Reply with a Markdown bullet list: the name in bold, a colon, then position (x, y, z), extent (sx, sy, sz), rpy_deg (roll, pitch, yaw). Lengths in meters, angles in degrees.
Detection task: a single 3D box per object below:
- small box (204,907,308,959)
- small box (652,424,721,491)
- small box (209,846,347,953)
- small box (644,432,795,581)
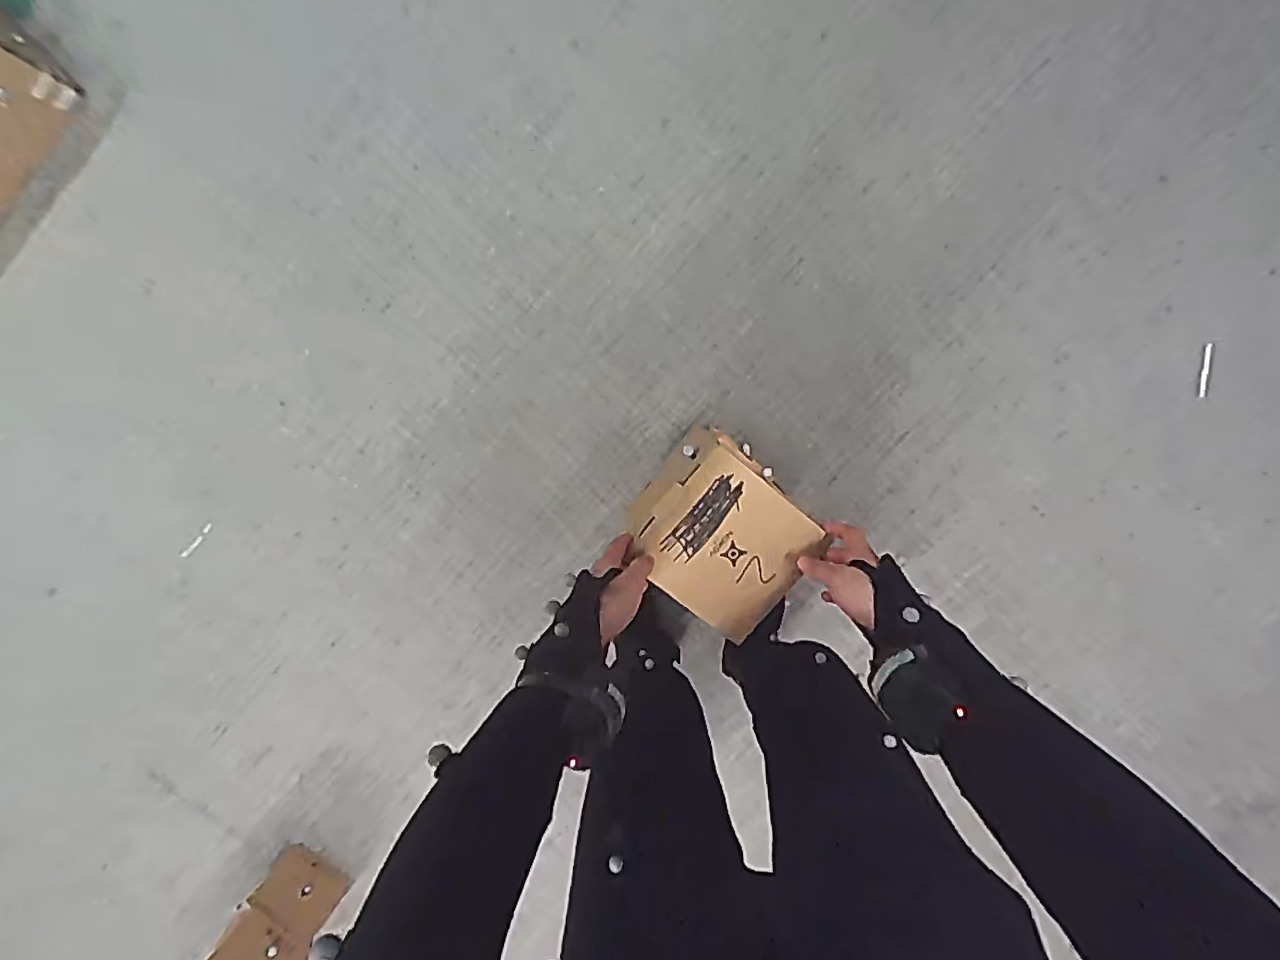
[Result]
- **small box**: position (-0.809, 1.018, 1.071), extent (0.168, 0.176, 0.179), rpy_deg (39, 96, 0)
- **small box**: position (0.143, 0.009, 1.065), extent (0.179, 0.176, 0.168), rpy_deg (44, 97, 1)
- **small box**: position (-0.811, 0.996, 1.234), extent (0.168, 0.176, 0.179), rpy_deg (35, 98, 2)
- **small box**: position (0.127, 0.034, 0.905), extent (0.168, 0.176, 0.179), rpy_deg (44, 98, 2)
